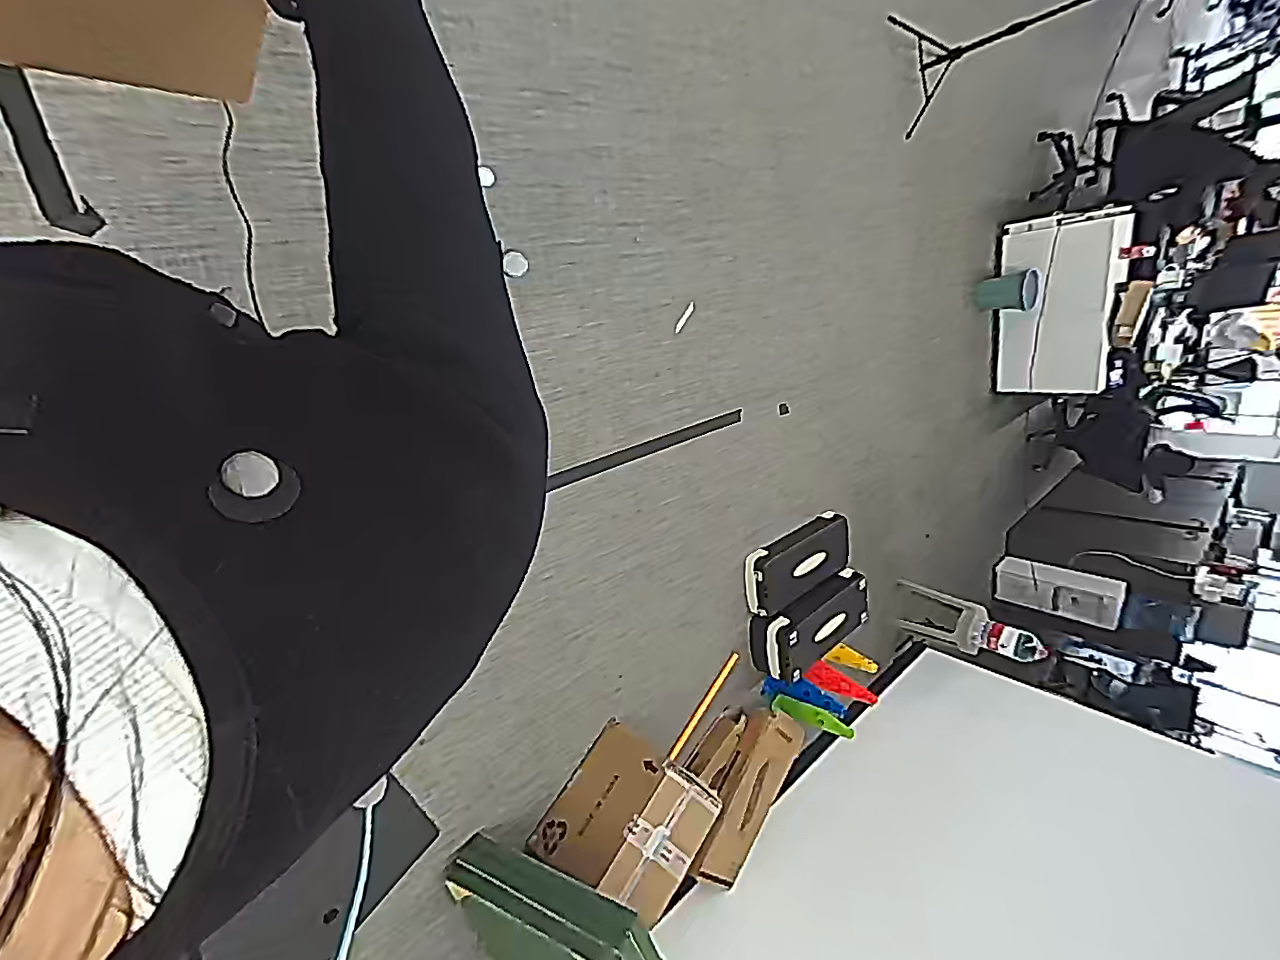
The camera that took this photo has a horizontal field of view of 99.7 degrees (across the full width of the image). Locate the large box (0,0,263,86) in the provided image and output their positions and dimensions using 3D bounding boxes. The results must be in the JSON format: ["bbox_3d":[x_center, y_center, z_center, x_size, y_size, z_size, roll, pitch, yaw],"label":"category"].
[{"bbox_3d":[-0.509,-0.507,0.330,0.408,0.320,0.320,-17,111,-38],"label":"large box"}]
